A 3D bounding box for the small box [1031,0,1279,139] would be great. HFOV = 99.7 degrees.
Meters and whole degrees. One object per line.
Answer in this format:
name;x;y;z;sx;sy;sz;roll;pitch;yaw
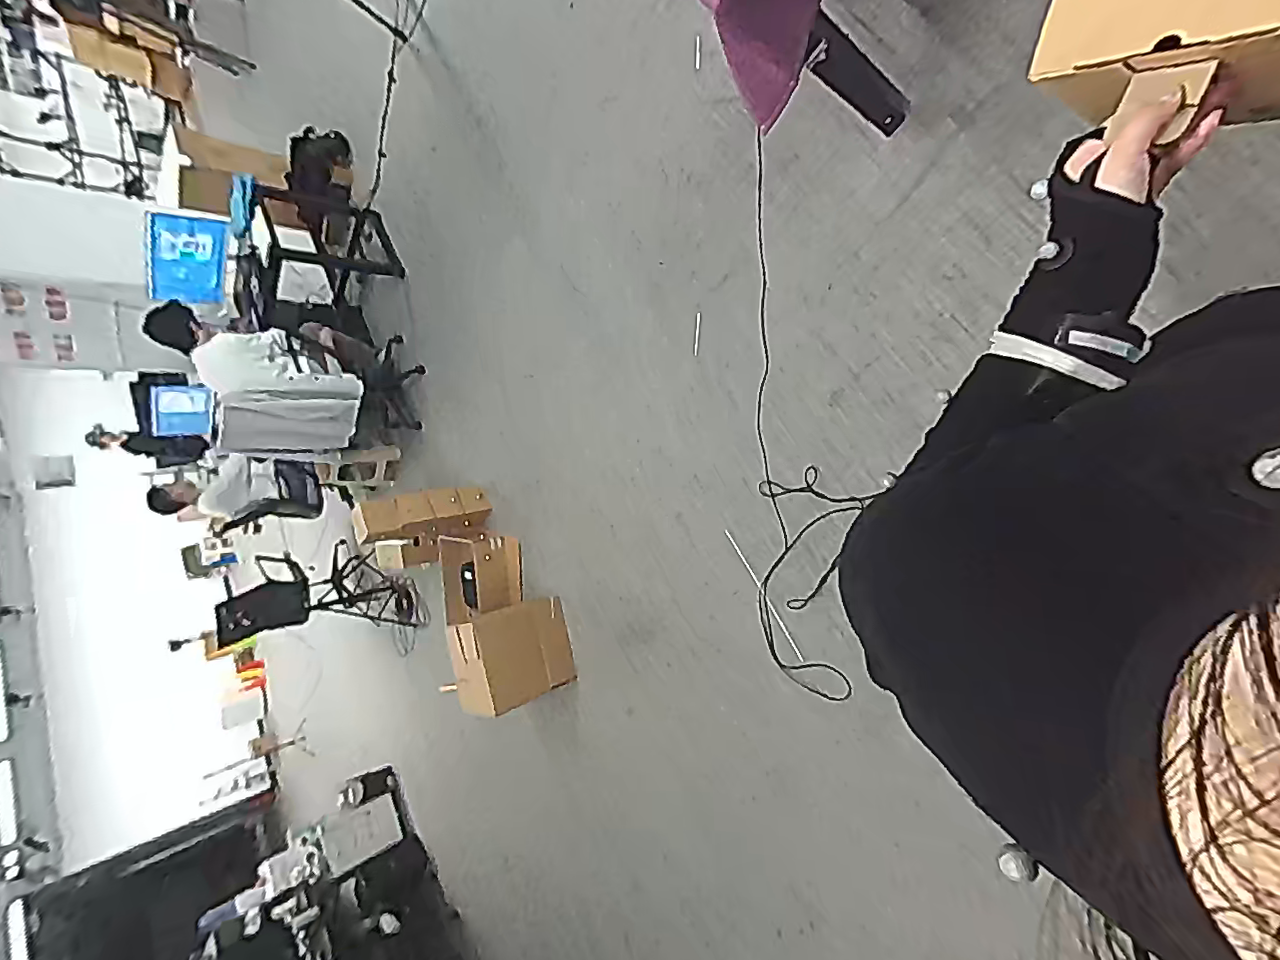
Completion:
small box;0.420;-0.359;0.368;0.168;0.176;0.179;34;123;48
